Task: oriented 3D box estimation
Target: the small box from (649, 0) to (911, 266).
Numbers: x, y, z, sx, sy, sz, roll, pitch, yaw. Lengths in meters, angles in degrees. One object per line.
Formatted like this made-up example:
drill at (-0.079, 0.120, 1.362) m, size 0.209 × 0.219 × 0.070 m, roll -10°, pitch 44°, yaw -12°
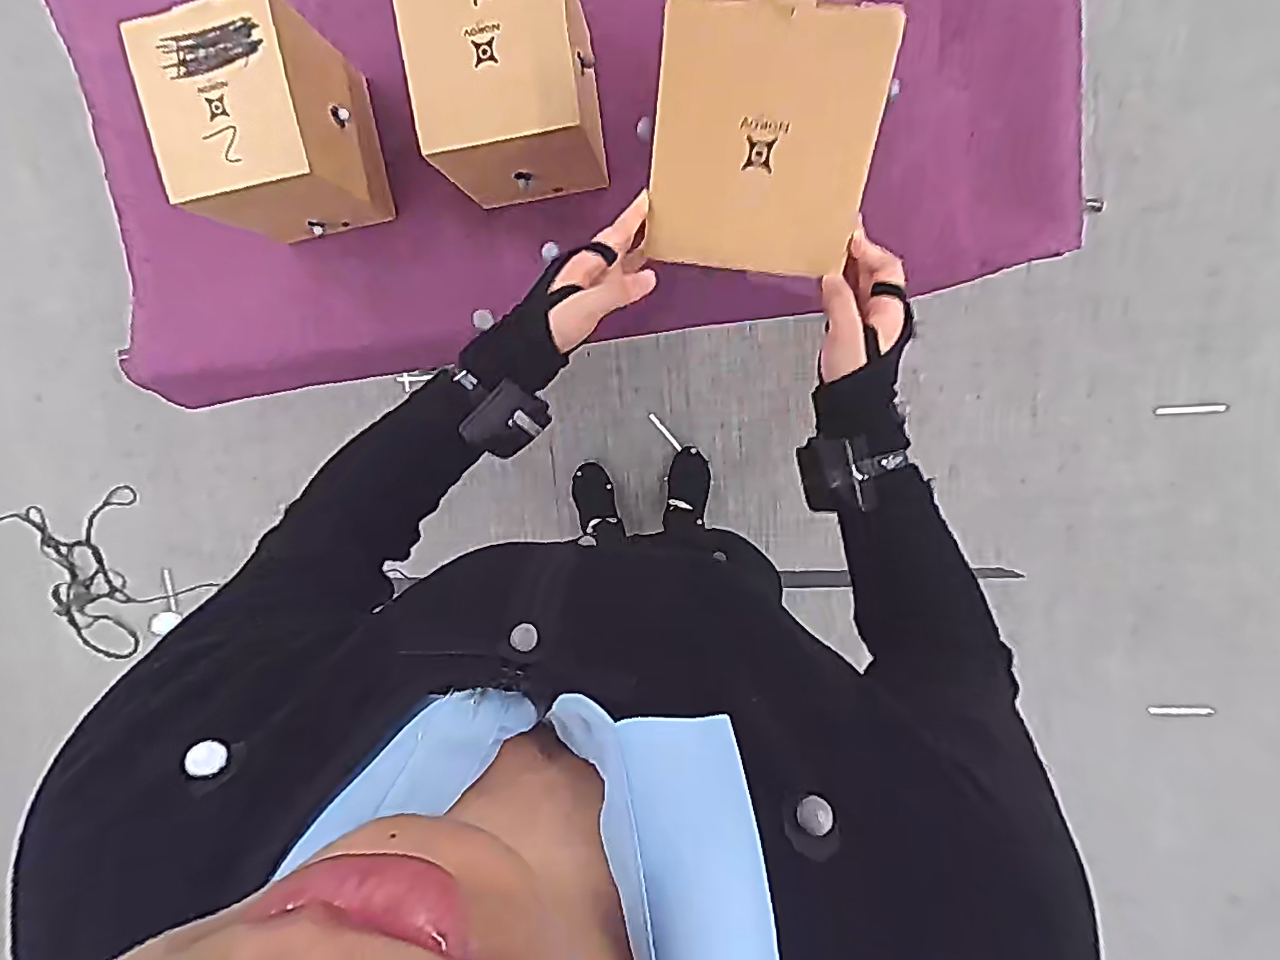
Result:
small box at (0.106, -0.297, 0.477) m, size 0.168 × 0.176 × 0.179 m, roll 8°, pitch 116°, yaw 4°

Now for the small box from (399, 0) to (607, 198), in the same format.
small box at (-0.135, -0.430, 0.593) m, size 0.168 × 0.176 × 0.179 m, roll -6°, pitch 99°, yaw 6°
